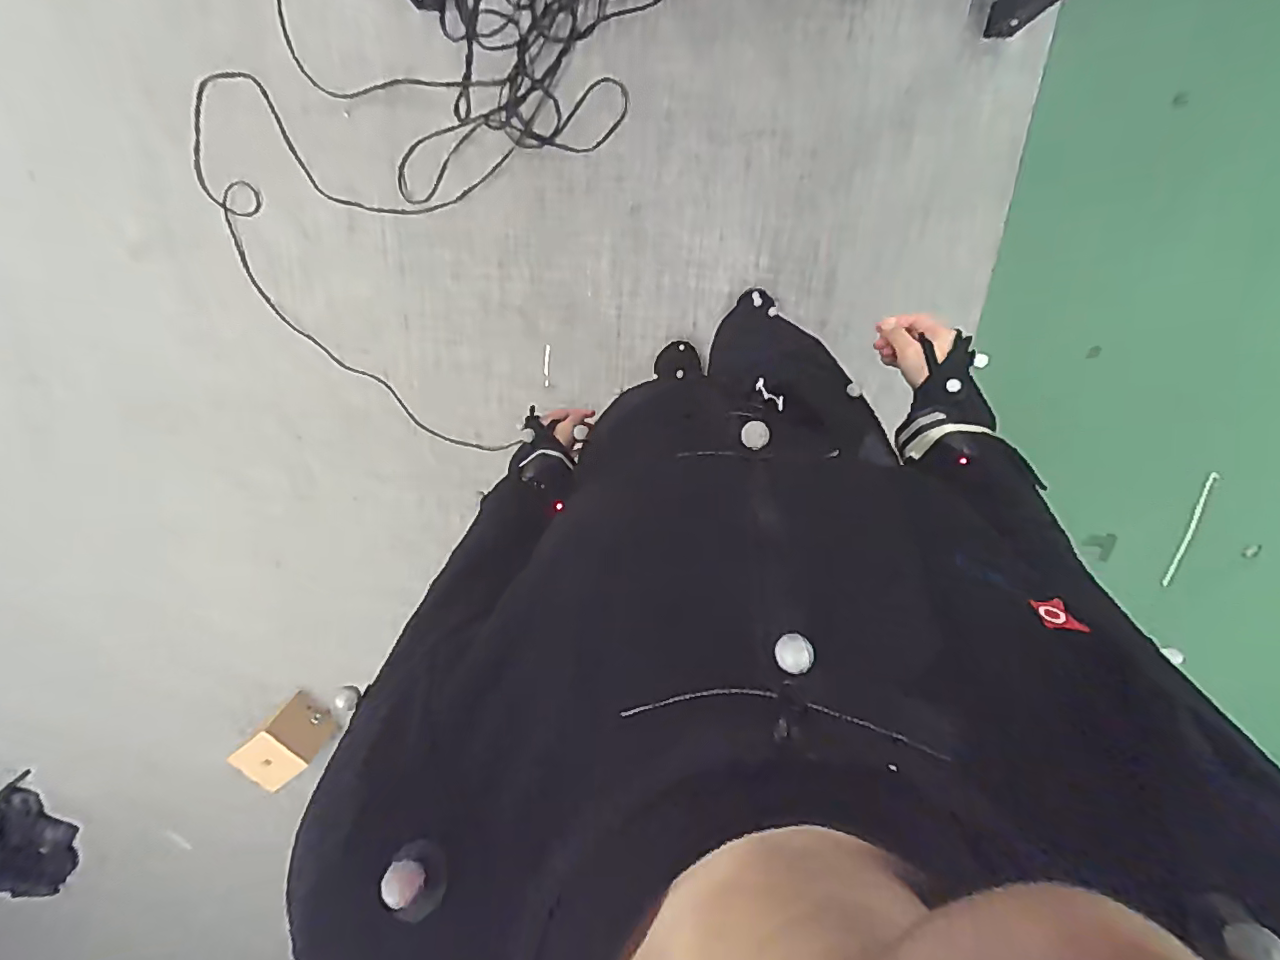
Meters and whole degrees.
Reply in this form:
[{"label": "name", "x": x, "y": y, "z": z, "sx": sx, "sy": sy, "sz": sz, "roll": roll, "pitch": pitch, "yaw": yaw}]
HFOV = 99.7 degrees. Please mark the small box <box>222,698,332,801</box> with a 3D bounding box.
[{"label": "small box", "x": -1.059, "y": 0.789, "z": 1.595, "sx": 0.179, "sy": 0.176, "sz": 0.168, "roll": -38, "pitch": 104, "yaw": 13}]
